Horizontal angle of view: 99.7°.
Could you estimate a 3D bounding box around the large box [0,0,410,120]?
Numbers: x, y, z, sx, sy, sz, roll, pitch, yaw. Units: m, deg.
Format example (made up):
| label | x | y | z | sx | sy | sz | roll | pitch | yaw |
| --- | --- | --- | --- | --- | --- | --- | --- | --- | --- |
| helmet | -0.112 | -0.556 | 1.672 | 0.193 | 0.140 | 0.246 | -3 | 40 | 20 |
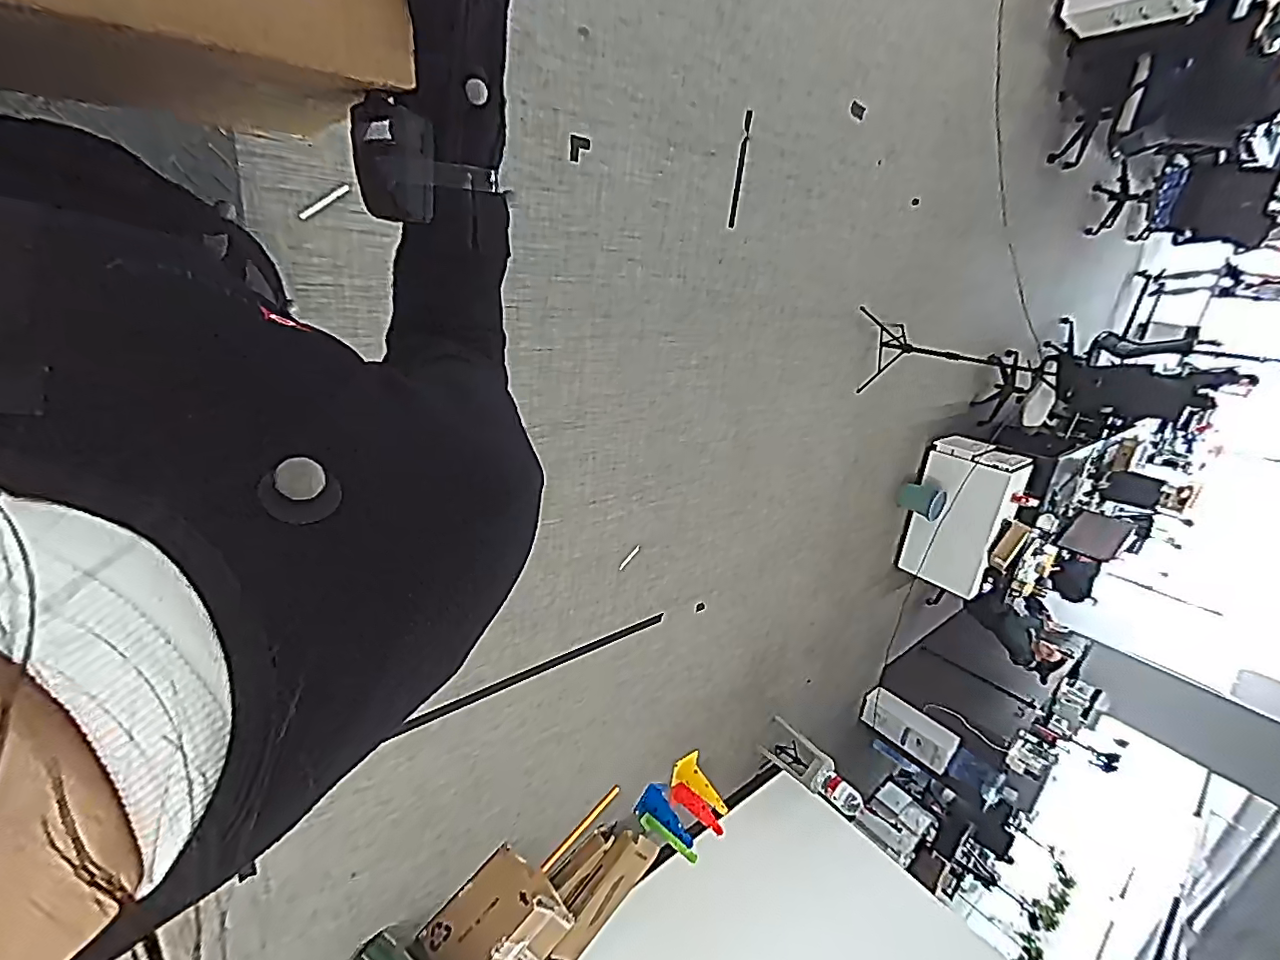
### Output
| label | x | y | z | sx | sy | sz | roll | pitch | yaw |
| --- | --- | --- | --- | --- | --- | --- | --- | --- | --- |
| large box | -0.374 | -0.385 | 0.241 | 0.408 | 0.320 | 0.320 | -16 | 122 | -36 |
